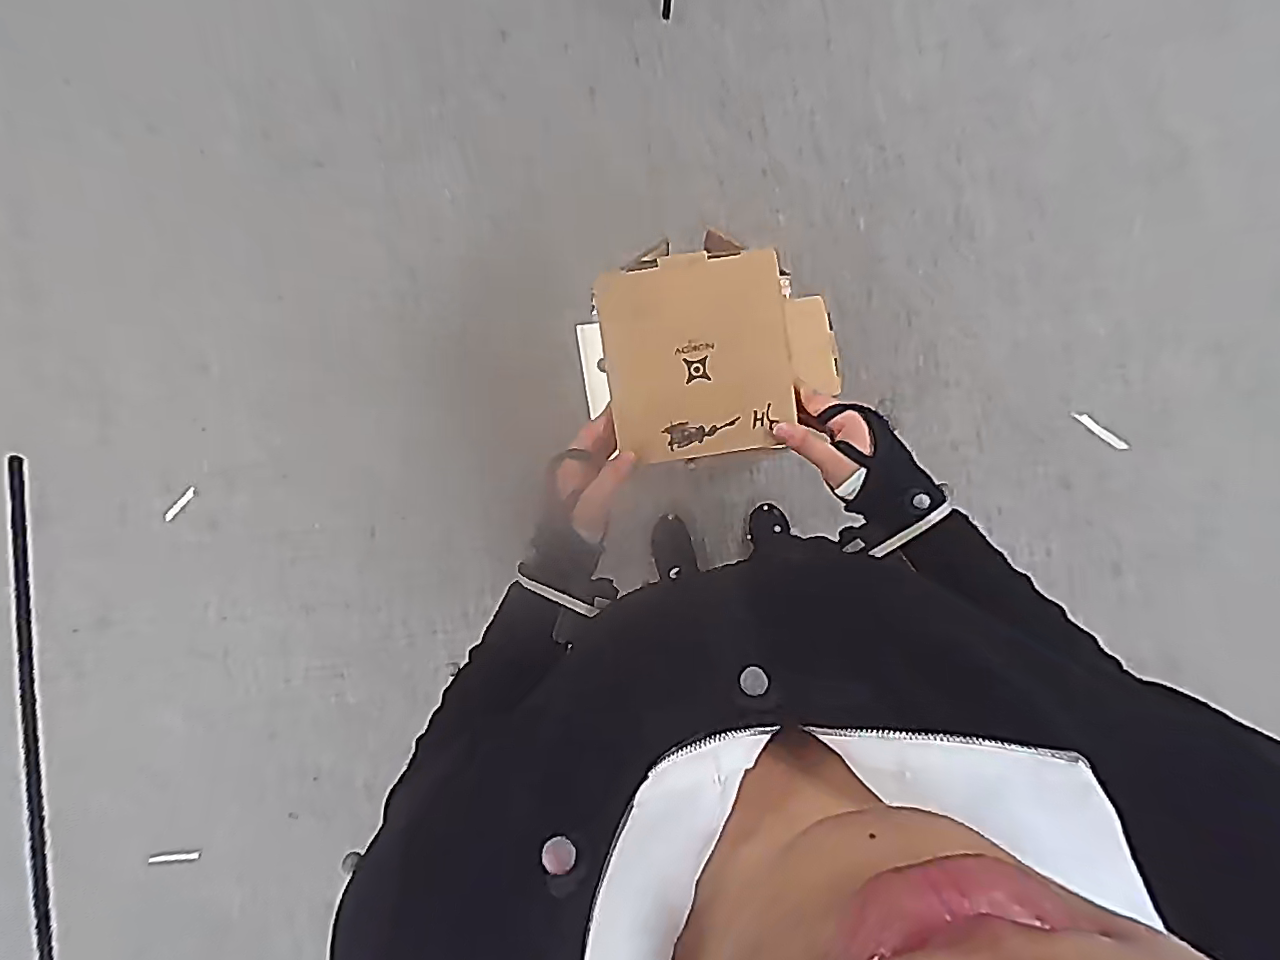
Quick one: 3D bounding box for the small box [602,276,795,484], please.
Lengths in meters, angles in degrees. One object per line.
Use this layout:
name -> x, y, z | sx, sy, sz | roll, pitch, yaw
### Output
small box -> 0.055, -0.099, 0.584 | 0.168, 0.176, 0.179 | -8, 96, 2

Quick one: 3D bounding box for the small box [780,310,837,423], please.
small box -> 0.228, -0.185, 0.962 | 0.179, 0.176, 0.168 | -9, 88, 2
